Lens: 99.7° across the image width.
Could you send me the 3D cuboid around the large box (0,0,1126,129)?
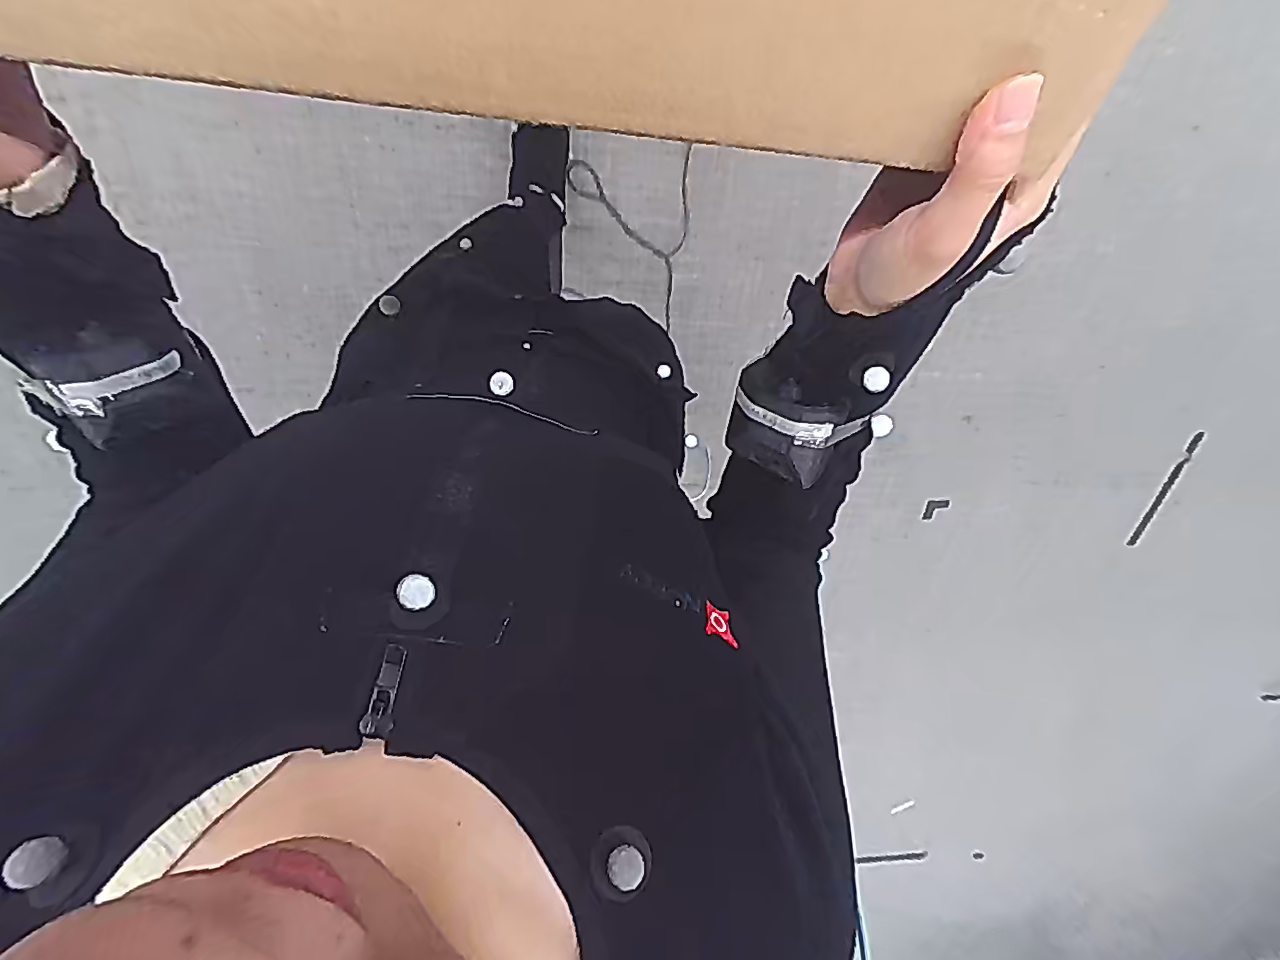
[{"bbox_3d":[-0.038,-0.346,0.153,0.408,0.320,0.320,2,144,-6],"label":"large box"}]
